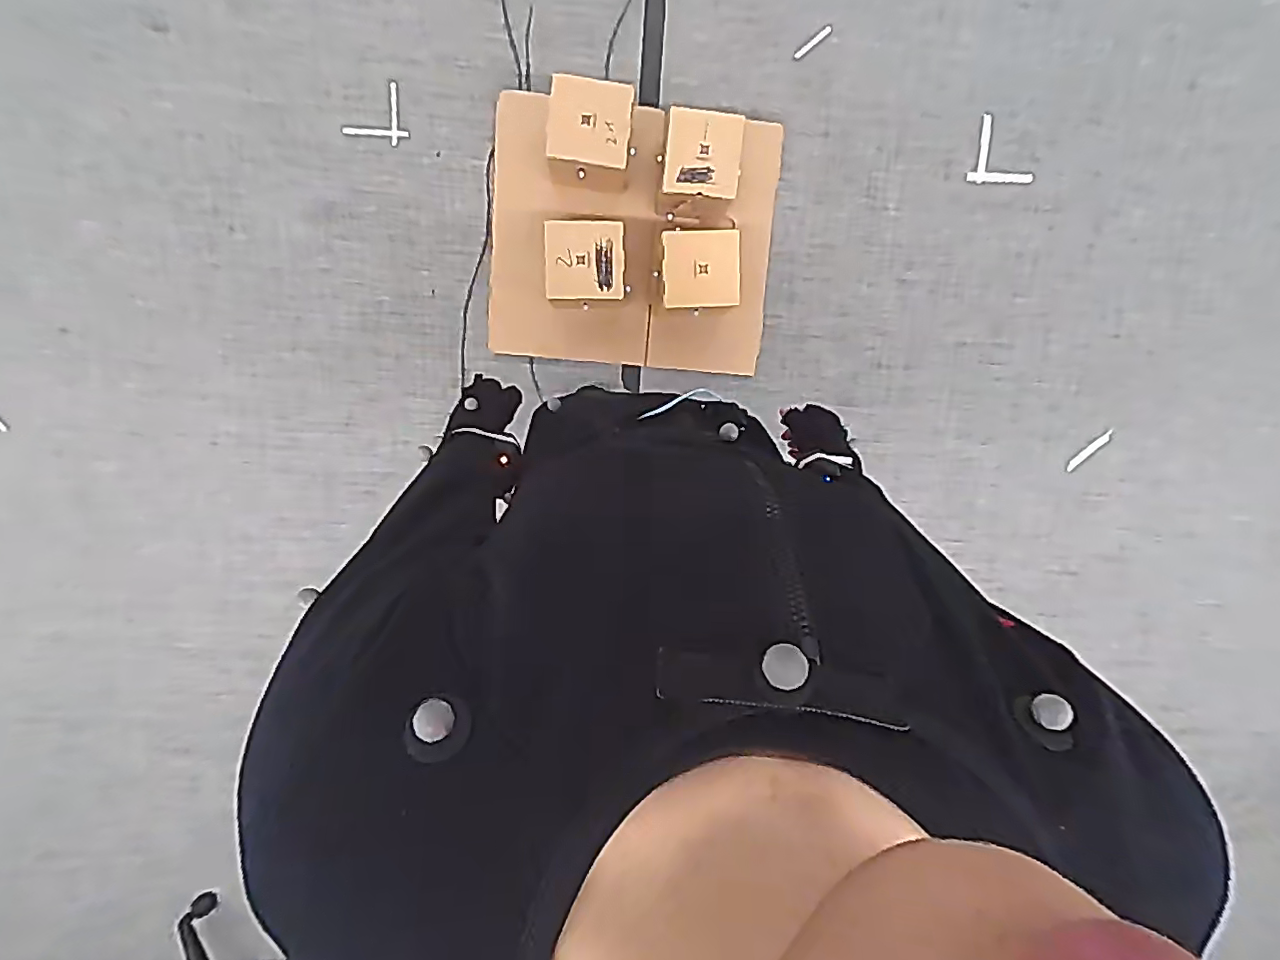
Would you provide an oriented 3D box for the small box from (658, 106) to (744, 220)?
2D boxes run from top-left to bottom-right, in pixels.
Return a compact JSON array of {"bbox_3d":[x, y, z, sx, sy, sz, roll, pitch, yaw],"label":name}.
[{"bbox_3d":[0.134,-0.727,1.261,0.168,0.176,0.179,5,99,-4],"label":"small box"}]

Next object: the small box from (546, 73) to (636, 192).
[{"bbox_3d":[-0.111,-0.780,1.233,0.179,0.176,0.168,7,100,-5],"label":"small box"}]

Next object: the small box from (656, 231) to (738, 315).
[{"bbox_3d":[0.133,-0.495,1.304,0.179,0.176,0.168,-2,100,-1],"label":"small box"}]
